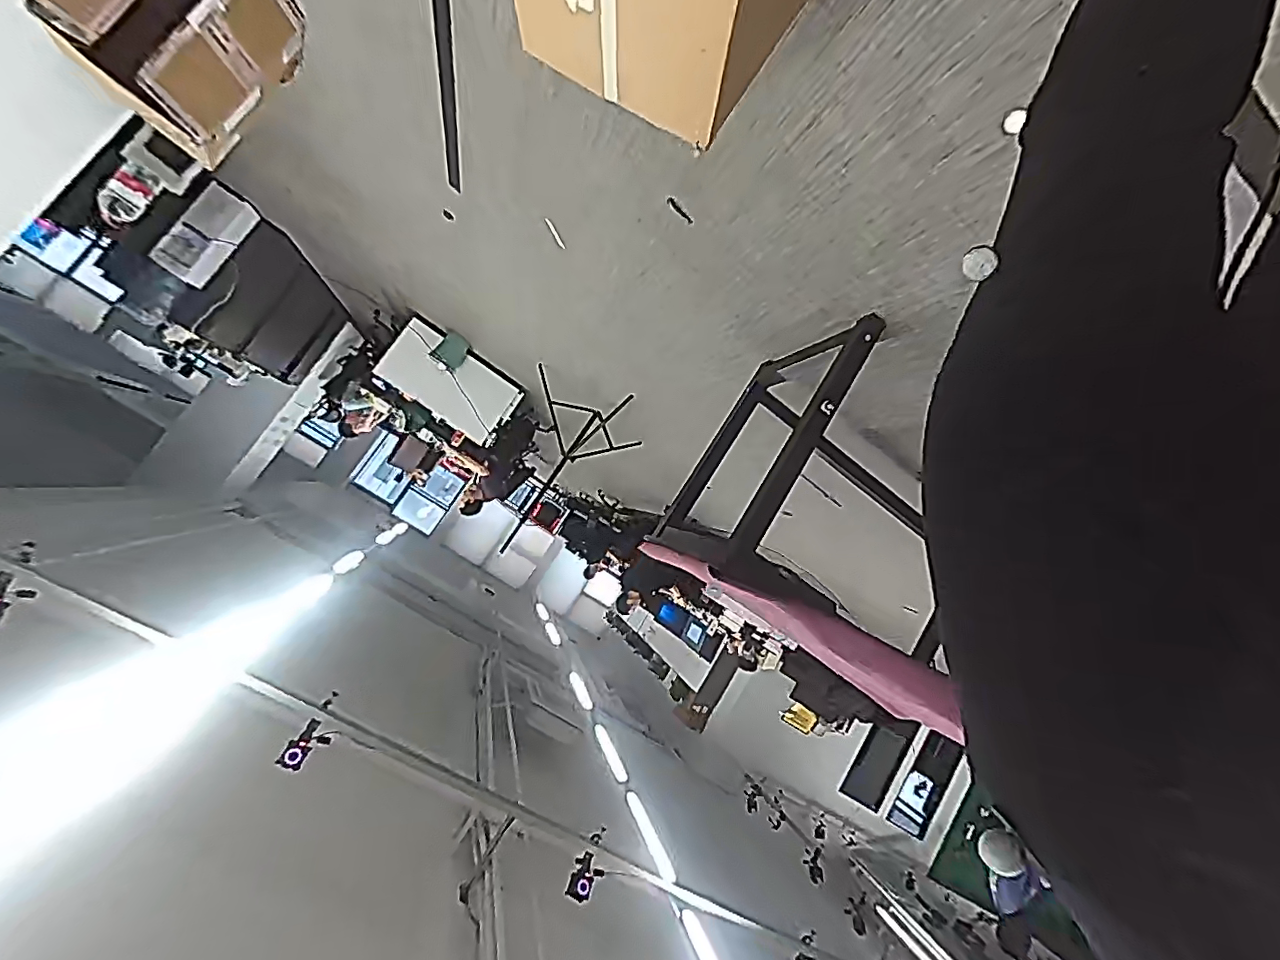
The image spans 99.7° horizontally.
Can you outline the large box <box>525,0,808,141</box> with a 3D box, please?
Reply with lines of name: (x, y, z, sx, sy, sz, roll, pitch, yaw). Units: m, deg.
large box: (0.054, -0.706, 0.589, 0.320, 0.320, 0.408, 33, 172, 4)
